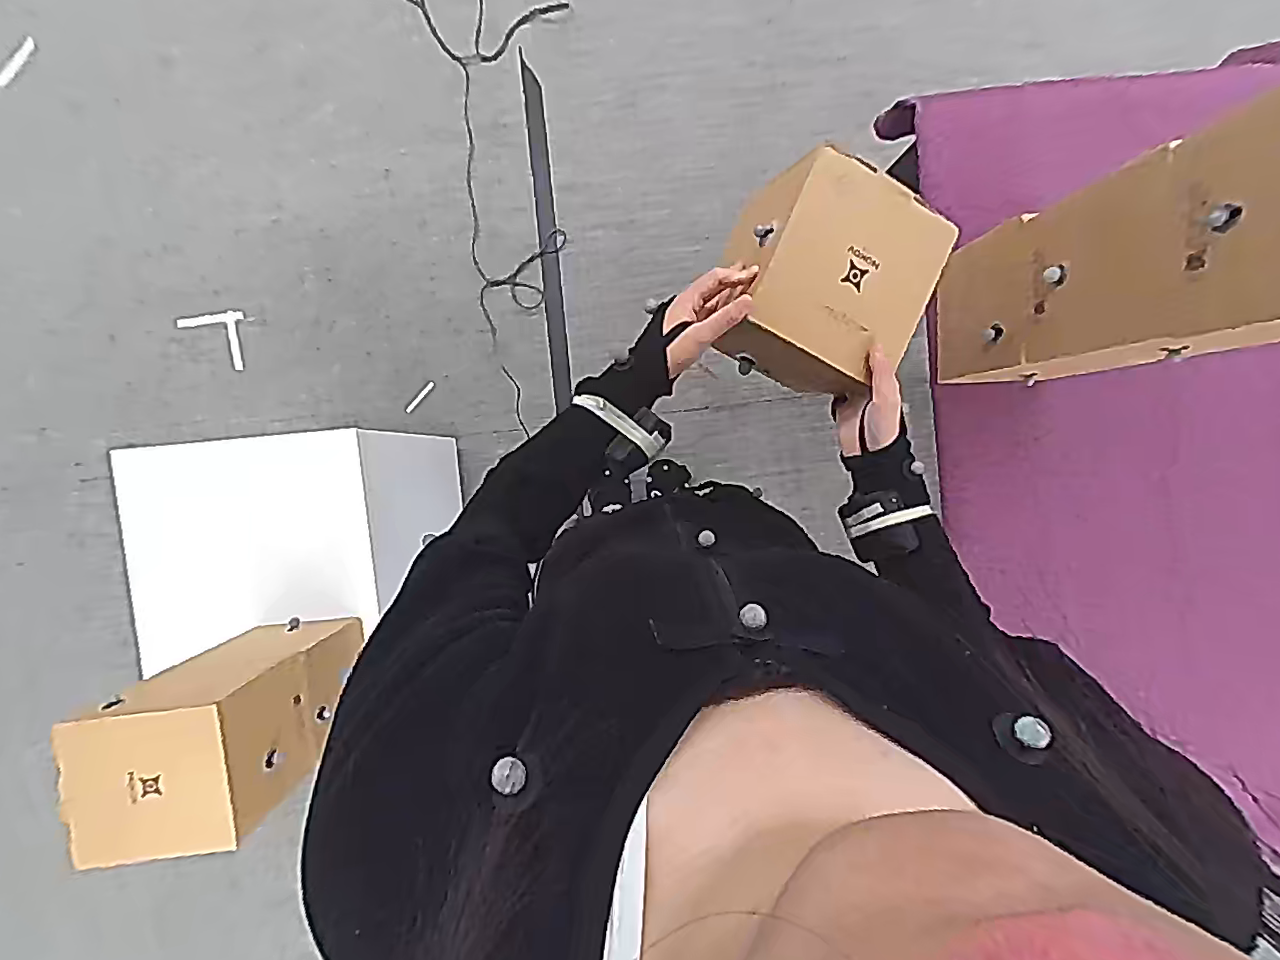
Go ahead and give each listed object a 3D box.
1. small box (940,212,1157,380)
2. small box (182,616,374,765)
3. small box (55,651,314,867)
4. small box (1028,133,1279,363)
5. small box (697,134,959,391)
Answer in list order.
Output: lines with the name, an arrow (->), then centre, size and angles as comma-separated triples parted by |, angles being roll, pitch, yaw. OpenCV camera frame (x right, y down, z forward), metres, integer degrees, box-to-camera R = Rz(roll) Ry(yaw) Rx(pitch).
small box -> 0.516, -0.225, 0.700 | 0.168, 0.176, 0.179 | -2, 93, -2
small box -> -0.538, 0.316, 0.825 | 0.179, 0.176, 0.168 | -5, 93, -1
small box -> -0.530, 0.323, 0.661 | 0.179, 0.176, 0.168 | -7, 93, -2
small box -> 0.531, -0.213, 0.537 | 0.179, 0.176, 0.168 | -3, 93, -1
small box -> 0.181, -0.207, 0.572 | 0.168, 0.176, 0.179 | 22, 94, -15
